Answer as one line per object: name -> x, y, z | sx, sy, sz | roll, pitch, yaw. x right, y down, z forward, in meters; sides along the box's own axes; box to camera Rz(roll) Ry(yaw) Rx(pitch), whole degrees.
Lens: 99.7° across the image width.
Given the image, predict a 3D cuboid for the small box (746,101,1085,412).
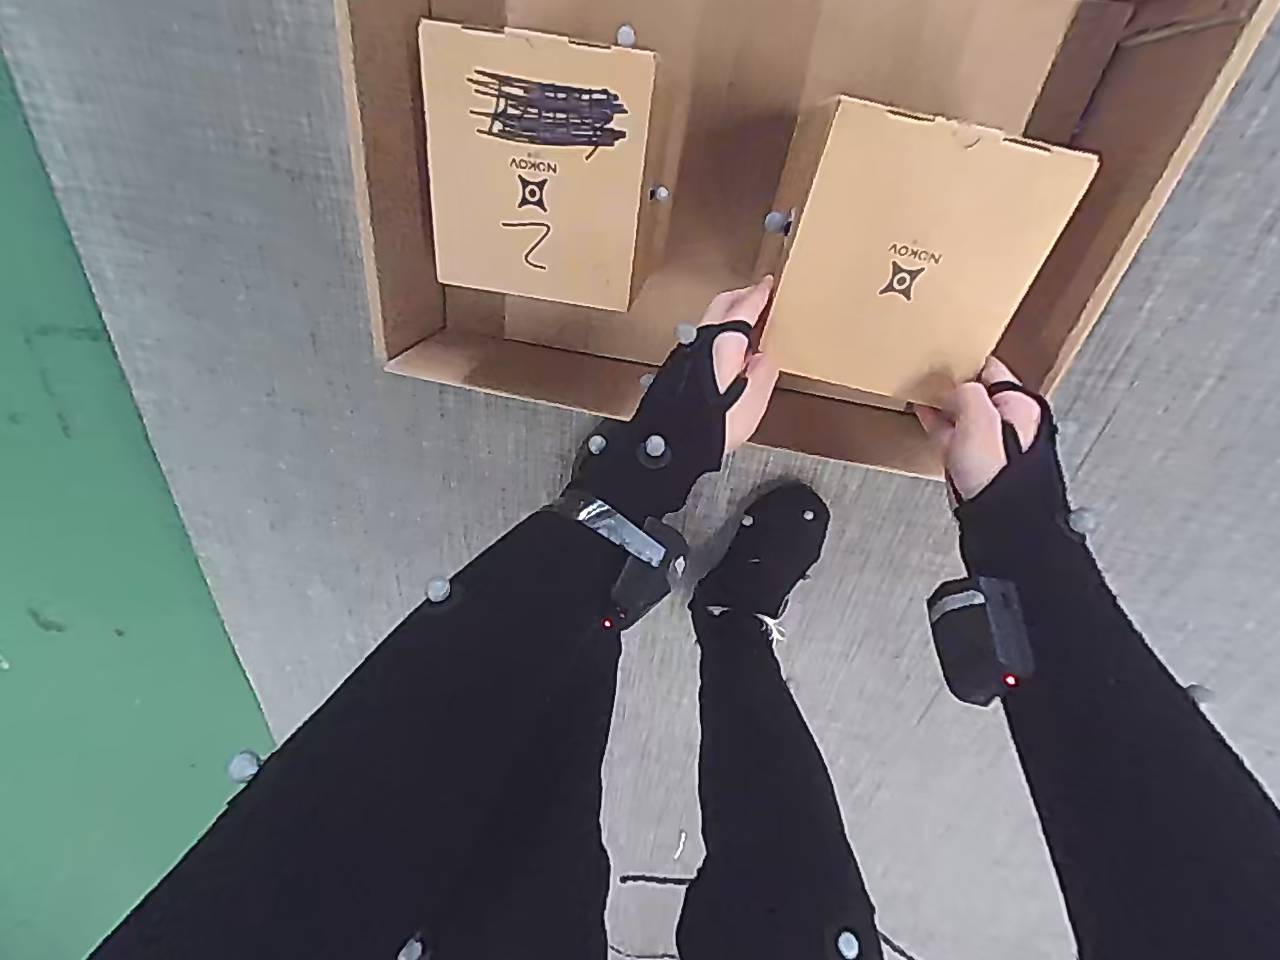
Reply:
small box -> 0.191, -0.184, 0.444 | 0.168, 0.176, 0.179 | 13, 122, 0
